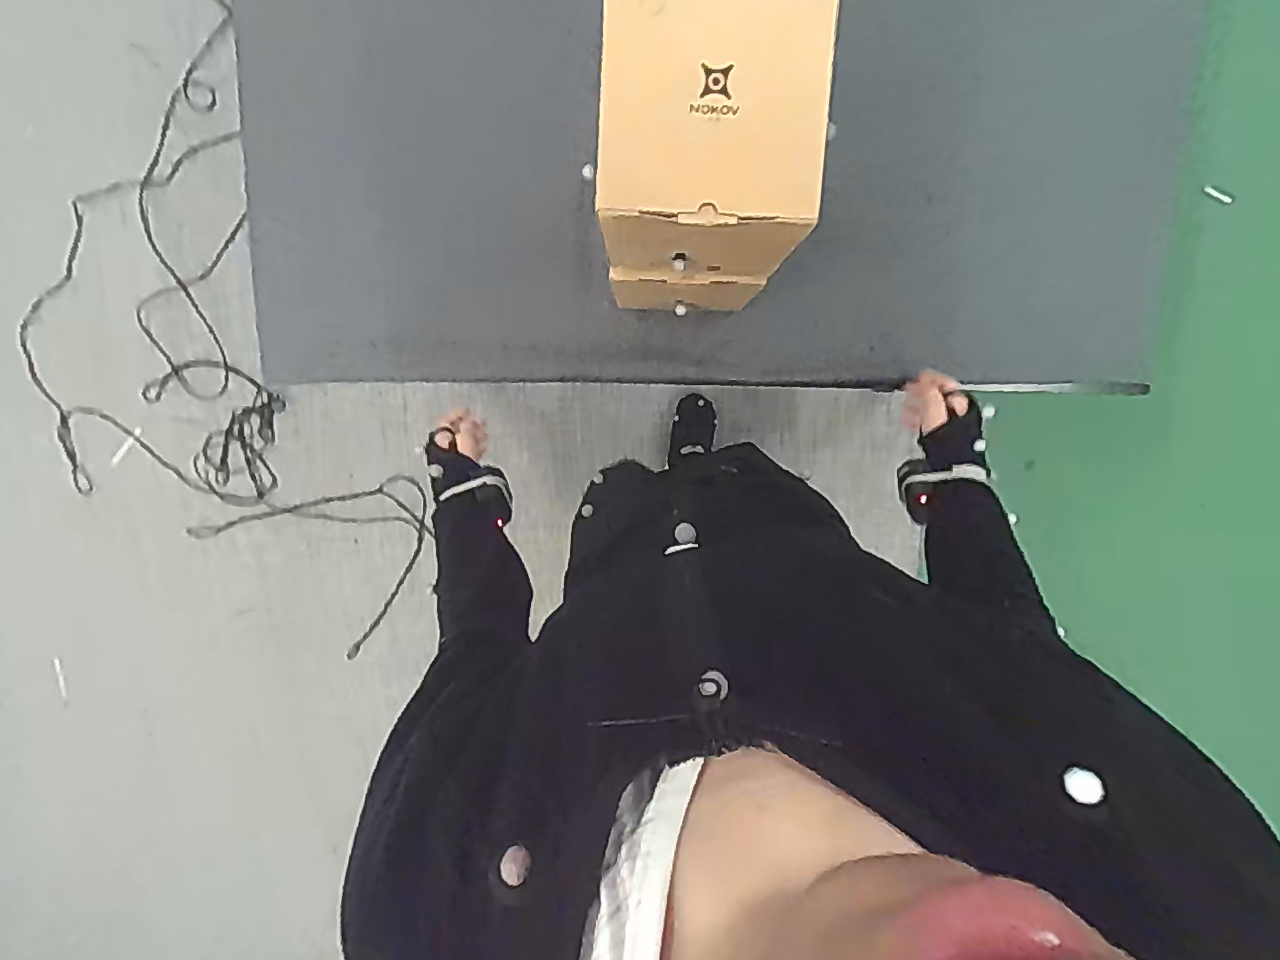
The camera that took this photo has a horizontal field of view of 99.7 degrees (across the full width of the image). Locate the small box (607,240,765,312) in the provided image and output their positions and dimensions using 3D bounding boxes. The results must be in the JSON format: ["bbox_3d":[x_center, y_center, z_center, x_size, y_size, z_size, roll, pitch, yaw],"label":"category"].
[{"bbox_3d":[0.051,-0.301,0.622,0.168,0.176,0.179,2,98,1],"label":"small box"}]

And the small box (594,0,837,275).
[{"bbox_3d":[0.052,-0.289,0.459,0.168,0.176,0.179,3,98,0],"label":"small box"}]
